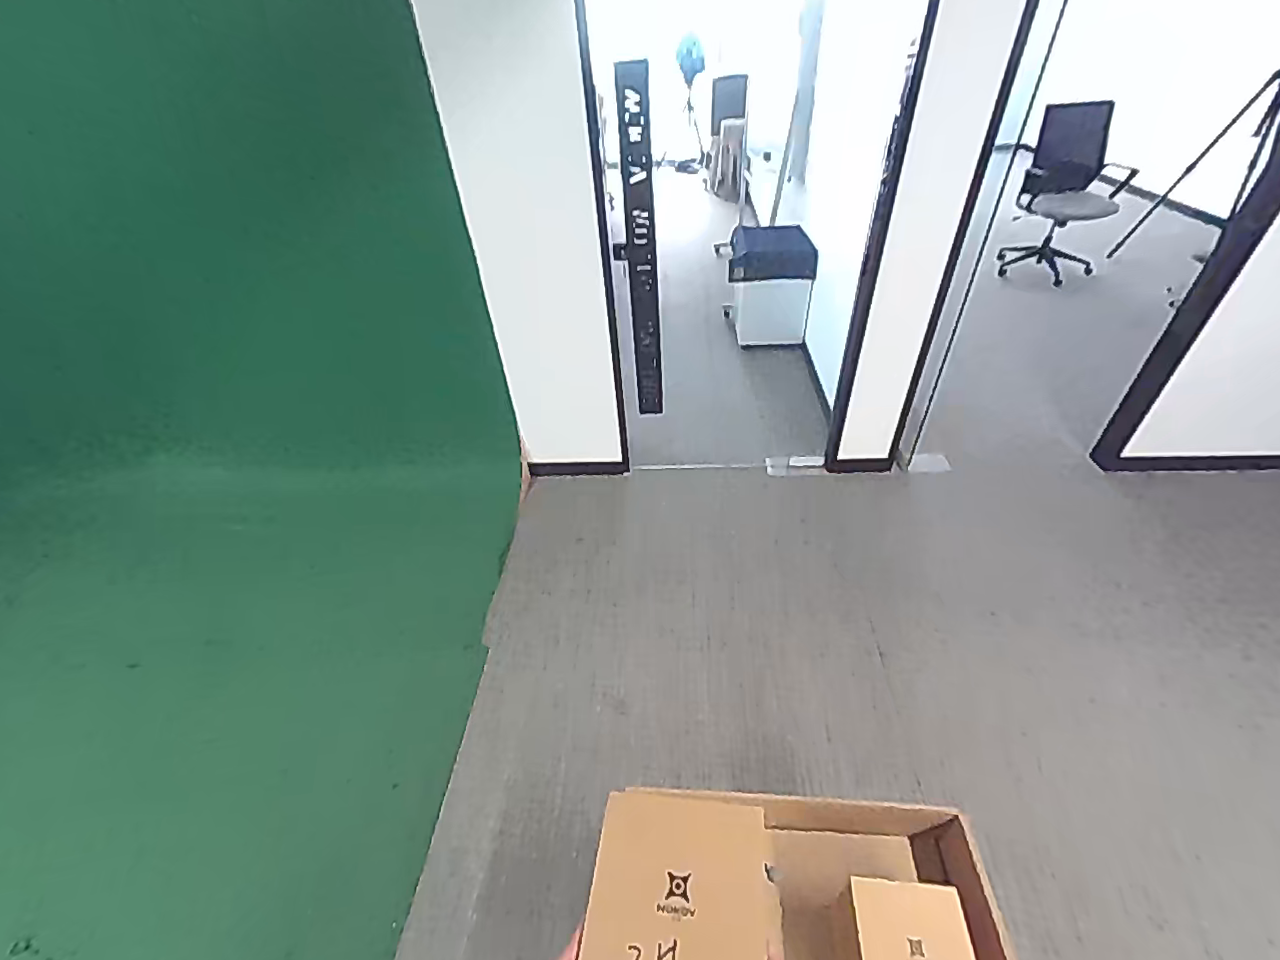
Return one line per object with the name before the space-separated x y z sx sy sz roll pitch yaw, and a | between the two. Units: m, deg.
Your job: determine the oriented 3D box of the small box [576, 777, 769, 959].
small box | 0.045 0.439 0.553 0.168 0.176 0.179 0 38 12
